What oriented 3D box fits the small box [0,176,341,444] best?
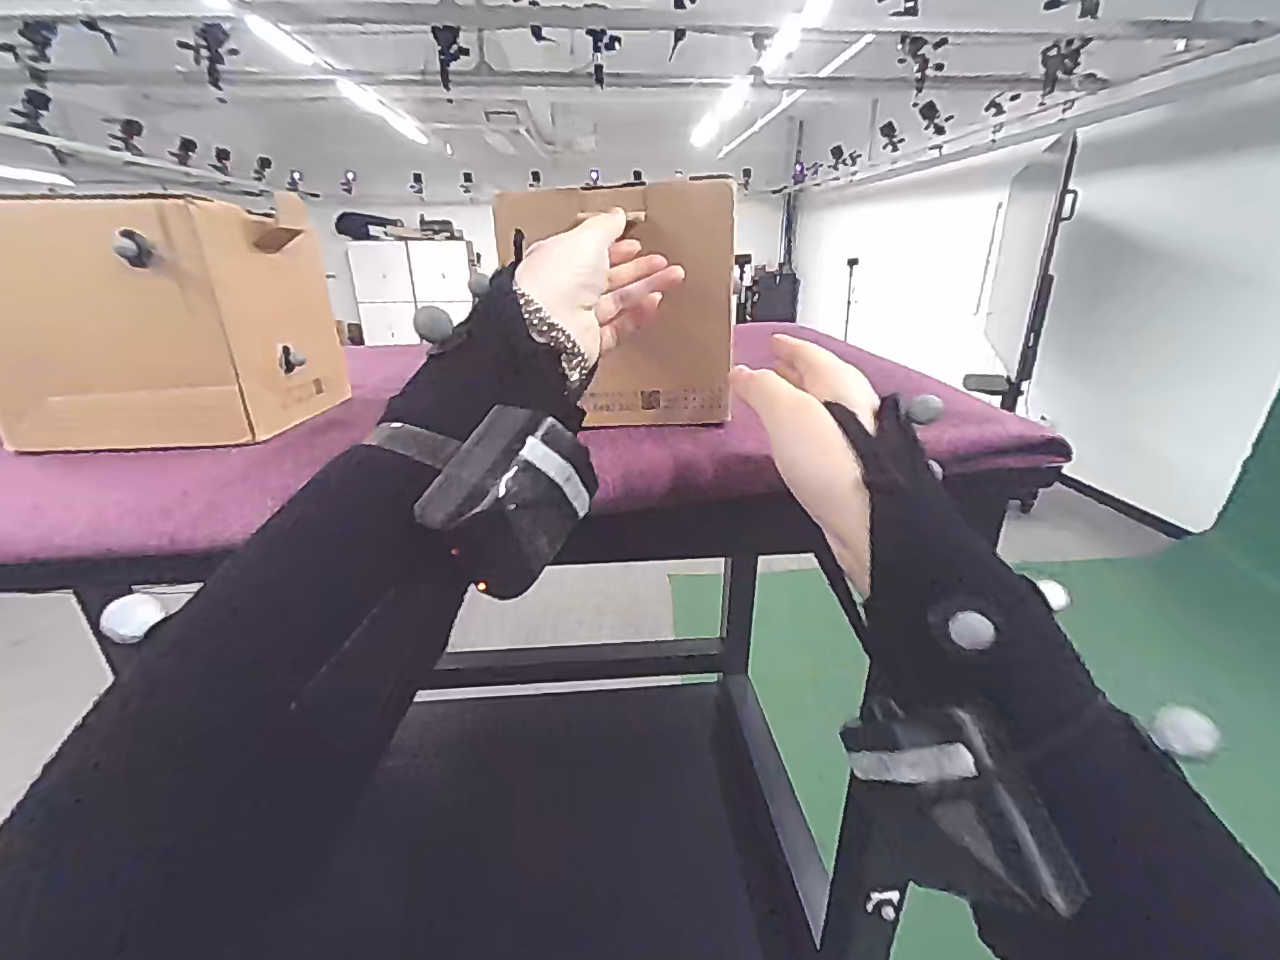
[{"bbox_3d":[-0.374,-0.129,0.428,0.179,0.176,0.168,-2,21,-4],"label":"small box"}]

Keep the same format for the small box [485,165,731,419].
[{"bbox_3d":[-0.013,-0.150,0.454,0.168,0.176,0.179,-1,21,3],"label":"small box"}]
